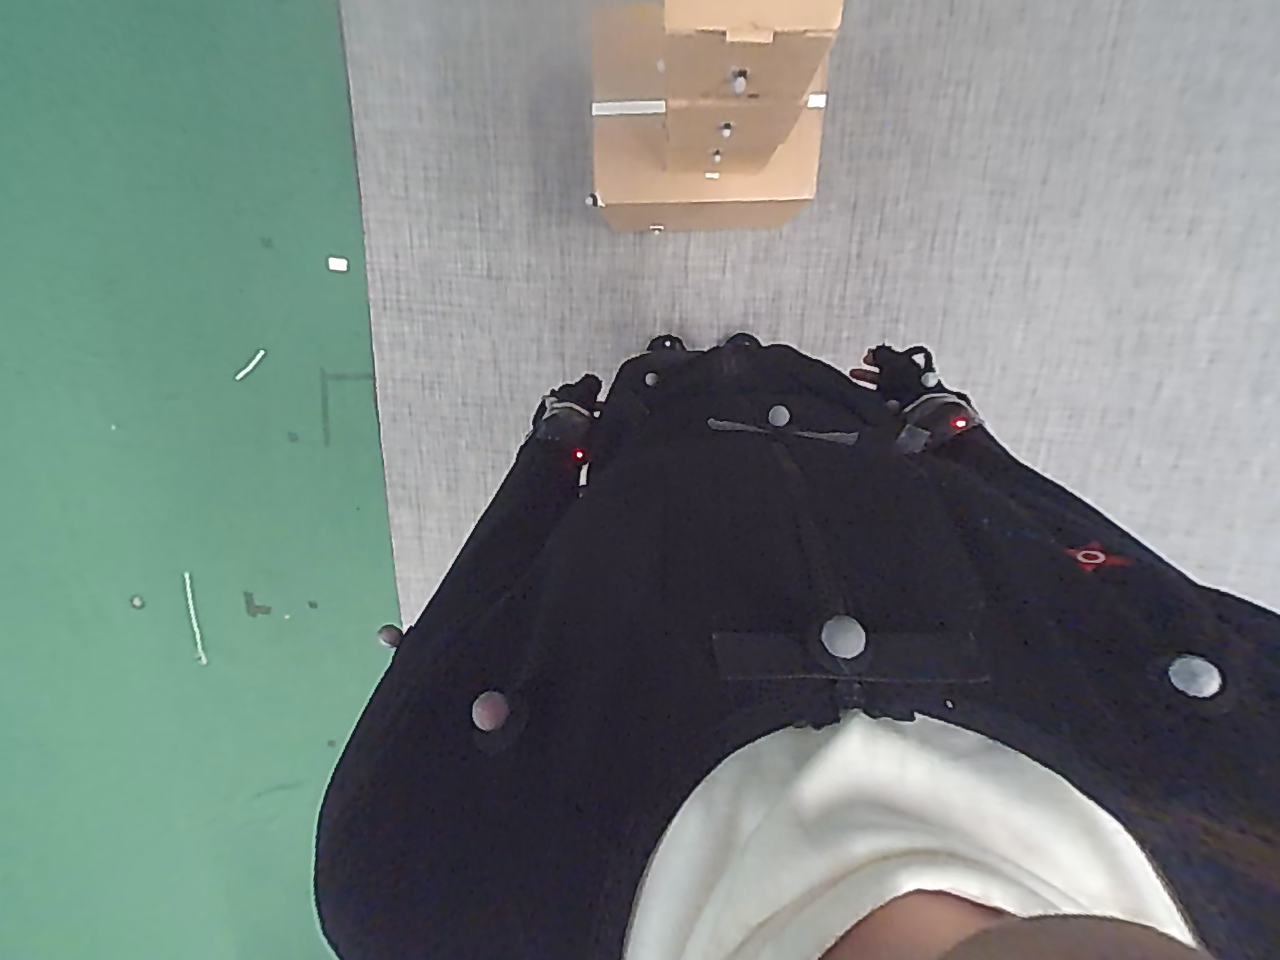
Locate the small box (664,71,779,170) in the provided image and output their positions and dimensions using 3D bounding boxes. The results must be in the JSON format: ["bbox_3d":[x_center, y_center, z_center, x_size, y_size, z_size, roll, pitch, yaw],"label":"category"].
[{"bbox_3d":[0.132,-0.614,0.874,0.179,0.176,0.168,2,107,3],"label":"small box"}]

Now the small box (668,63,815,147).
[{"bbox_3d":[0.127,-0.561,0.719,0.179,0.176,0.168,-1,107,4],"label":"small box"}]

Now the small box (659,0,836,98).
[{"bbox_3d":[0.113,-0.524,0.560,0.168,0.176,0.179,5,108,4],"label":"small box"}]
